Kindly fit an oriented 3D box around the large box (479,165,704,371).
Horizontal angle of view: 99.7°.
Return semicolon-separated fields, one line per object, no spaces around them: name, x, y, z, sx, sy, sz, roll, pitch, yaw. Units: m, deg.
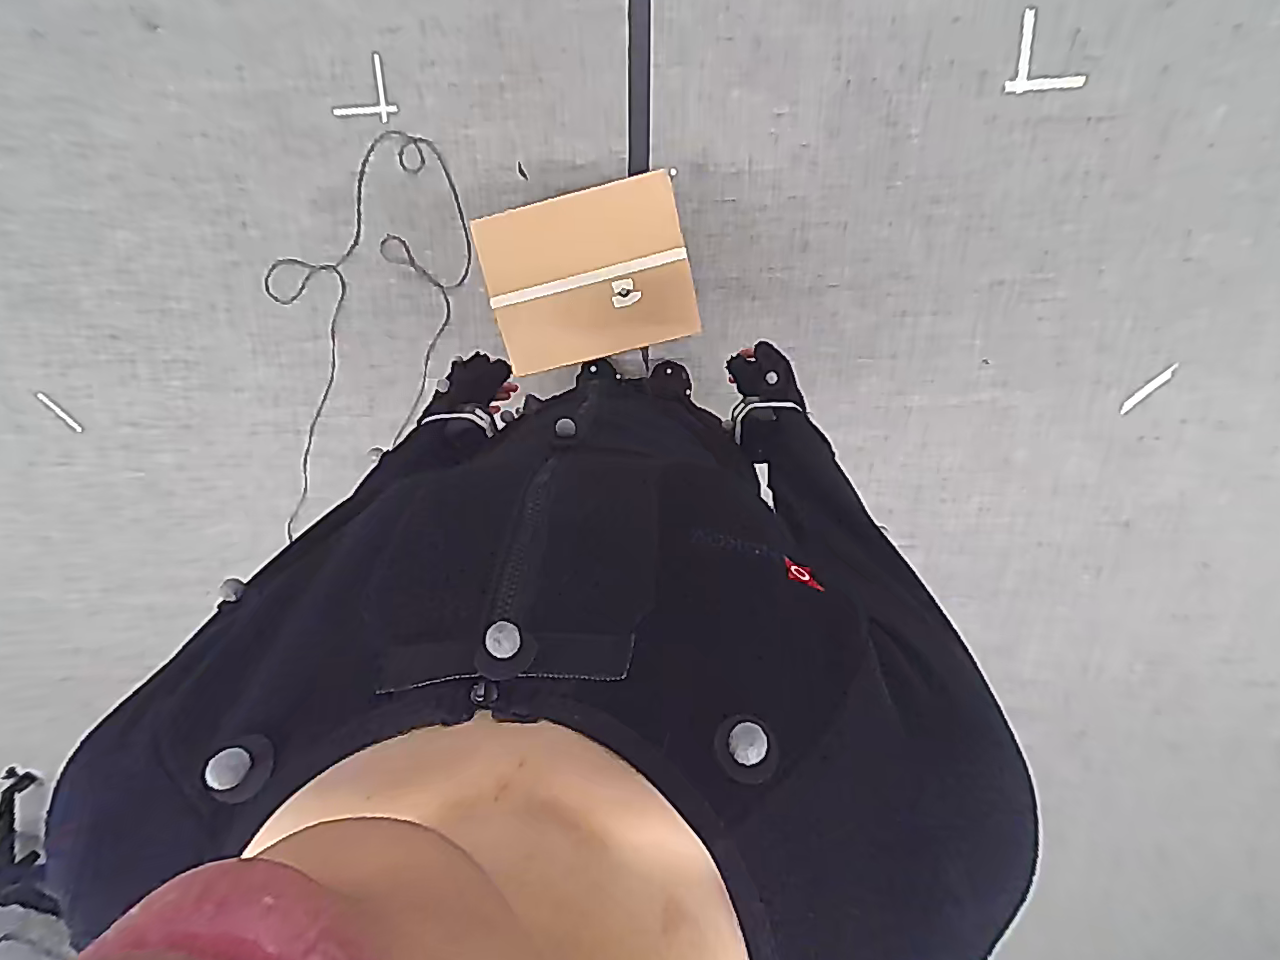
large box;-0.090;-0.452;1.231;0.408;0.320;0.320;-12;104;5
